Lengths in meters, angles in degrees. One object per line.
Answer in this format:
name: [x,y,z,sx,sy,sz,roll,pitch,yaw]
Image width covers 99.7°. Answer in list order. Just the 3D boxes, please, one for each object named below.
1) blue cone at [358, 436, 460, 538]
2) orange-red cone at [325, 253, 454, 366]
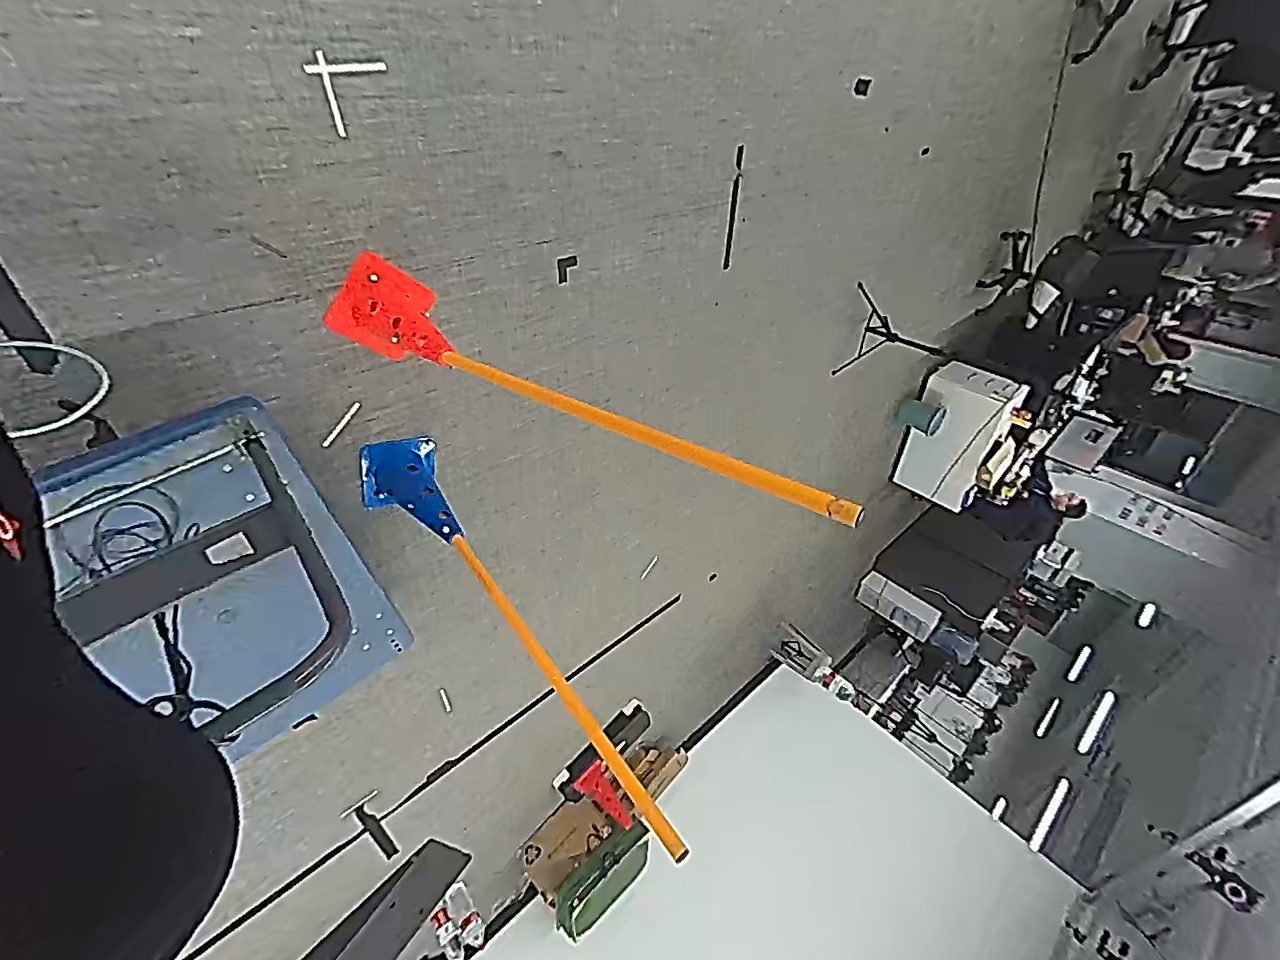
blue cone: [-0.569,0.049,1.402,0.193,0.380,0.192,-14,126,-42]
orange-red cone: [-0.495,-0.322,1.170,0.199,0.360,0.198,-56,143,4]
